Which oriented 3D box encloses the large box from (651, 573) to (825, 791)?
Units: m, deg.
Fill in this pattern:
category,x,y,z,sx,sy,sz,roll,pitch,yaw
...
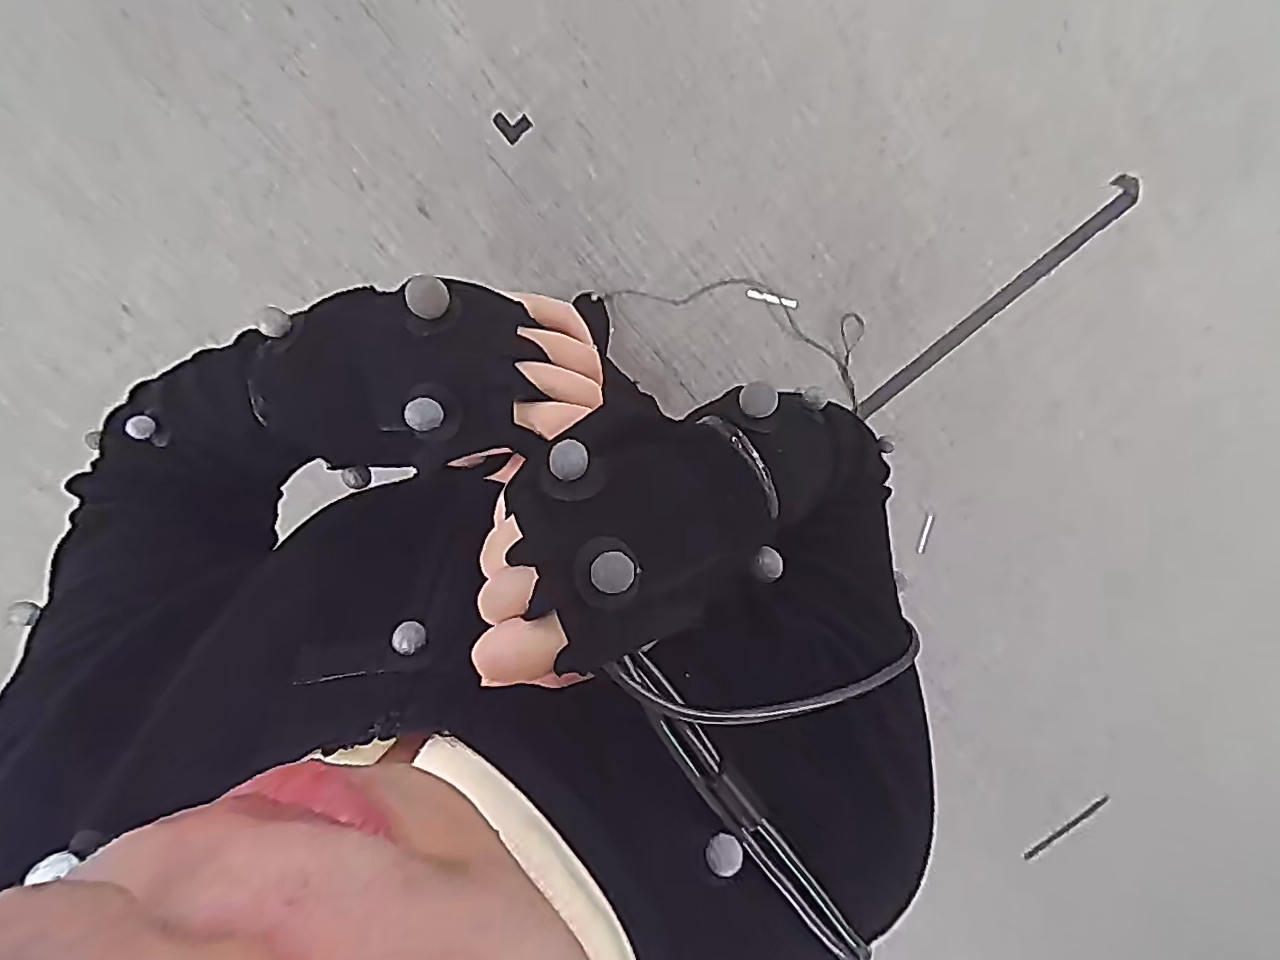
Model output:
category,x,y,z,sx,sy,sz,roll,pitch,yaw
large box,0.213,0.473,1.323,0.320,0.320,0.408,4,105,-7
